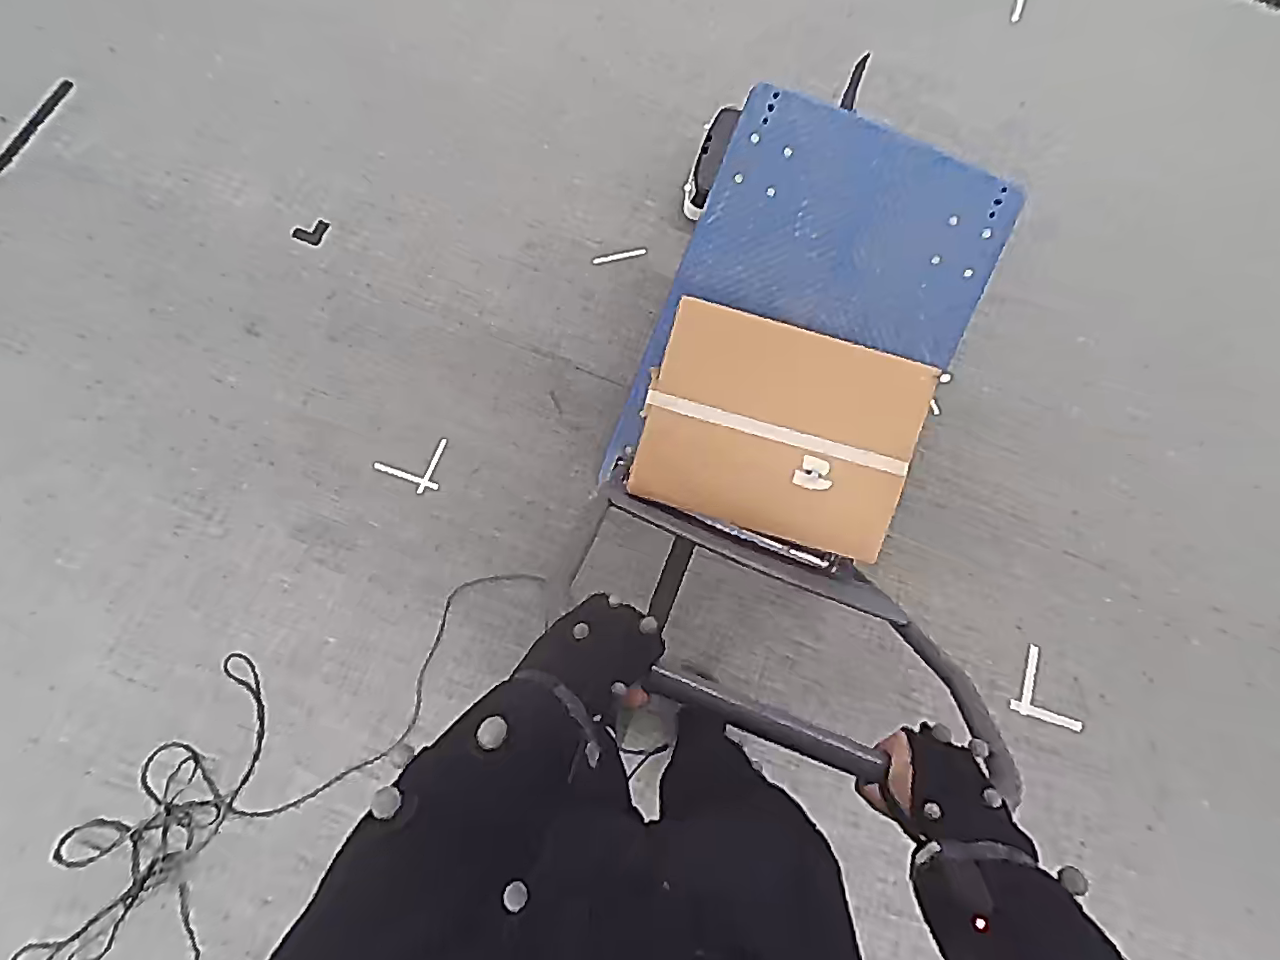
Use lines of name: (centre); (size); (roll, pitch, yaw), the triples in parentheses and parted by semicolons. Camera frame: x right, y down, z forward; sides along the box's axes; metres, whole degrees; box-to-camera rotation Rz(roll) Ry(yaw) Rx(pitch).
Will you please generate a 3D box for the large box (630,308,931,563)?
large box: (0.213, -0.081, 0.977); (0.408, 0.320, 0.320); (16, 97, -1)
